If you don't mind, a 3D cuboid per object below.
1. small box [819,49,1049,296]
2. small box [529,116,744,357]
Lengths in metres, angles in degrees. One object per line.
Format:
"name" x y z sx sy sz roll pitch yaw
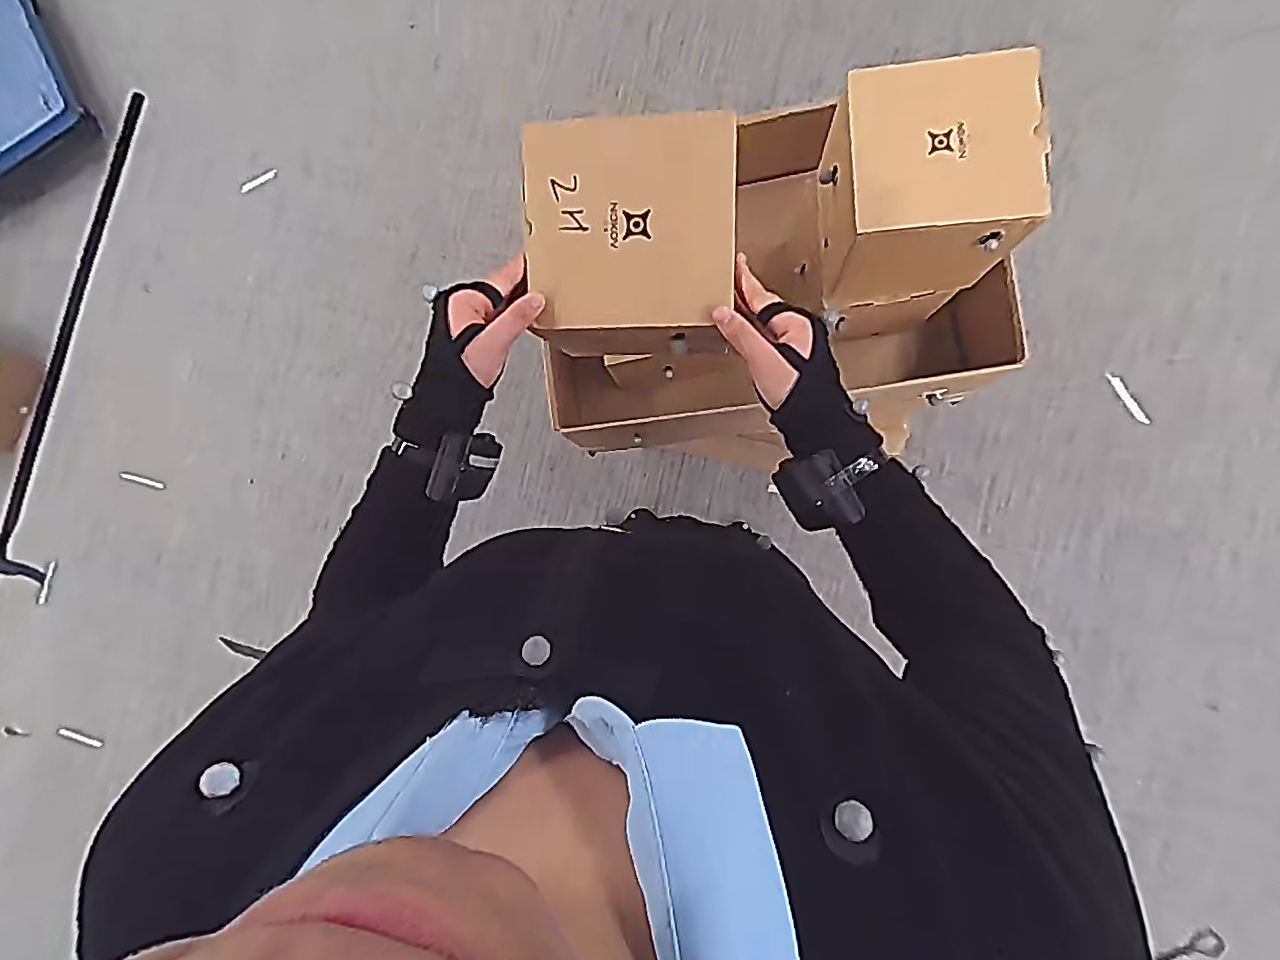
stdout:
"small box" 0.300 -0.316 0.594 0.179 0.176 0.168 -3 86 7
"small box" 0.003 -0.213 0.518 0.179 0.176 0.168 1 95 7
